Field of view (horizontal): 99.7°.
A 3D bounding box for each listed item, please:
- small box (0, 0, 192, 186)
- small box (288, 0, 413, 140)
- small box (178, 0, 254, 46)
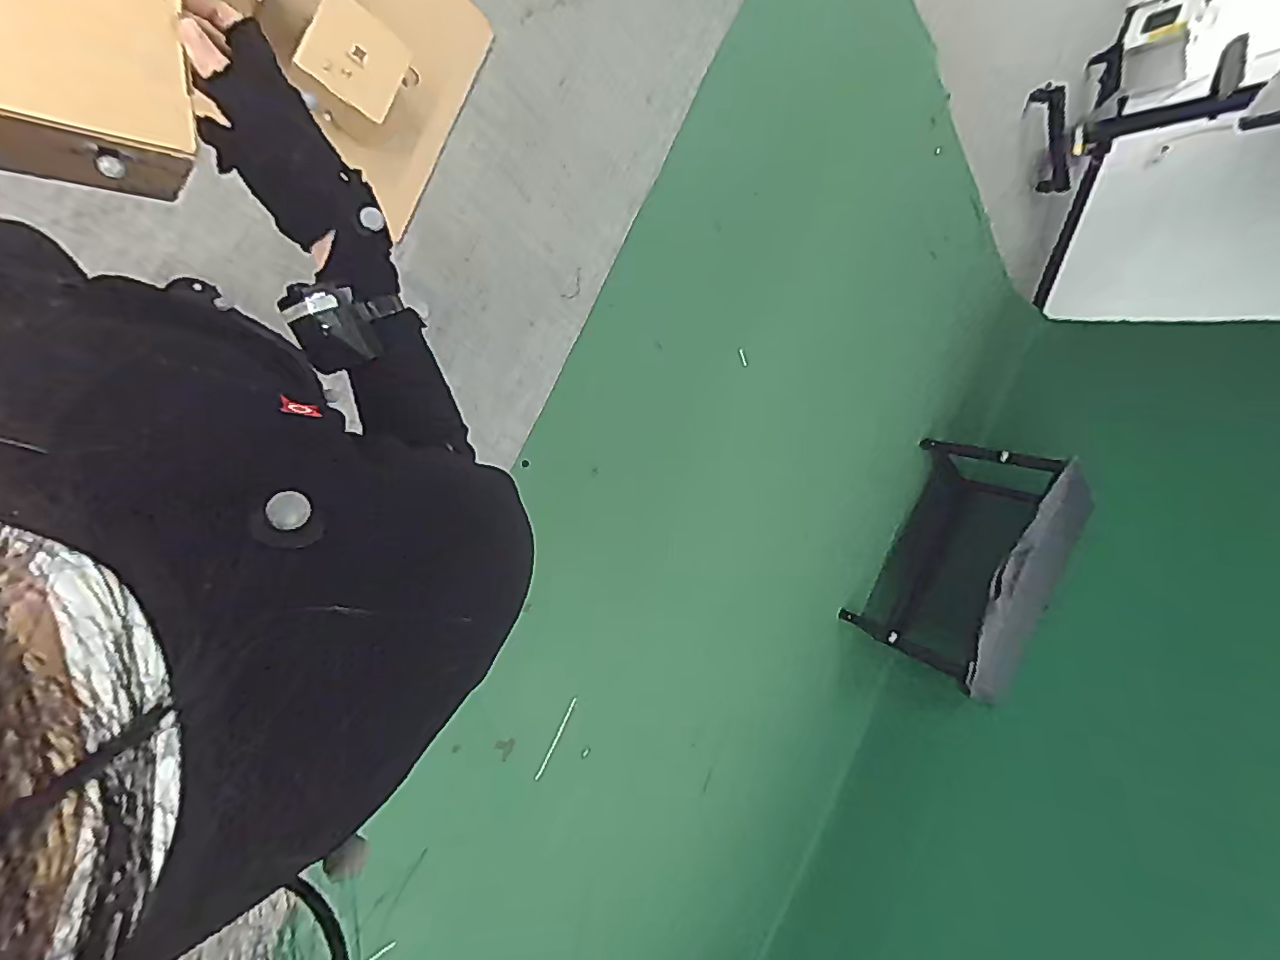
[{"bbox_3d":[-0.377,-0.281,0.299,0.179,0.176,0.168,-10,108,-44],"label":"small box"},{"bbox_3d":[-0.599,-0.847,1.109,0.168,0.176,0.179,26,87,-39],"label":"small box"},{"bbox_3d":[-0.774,-0.921,0.944,0.168,0.176,0.179,20,89,-40],"label":"small box"}]
